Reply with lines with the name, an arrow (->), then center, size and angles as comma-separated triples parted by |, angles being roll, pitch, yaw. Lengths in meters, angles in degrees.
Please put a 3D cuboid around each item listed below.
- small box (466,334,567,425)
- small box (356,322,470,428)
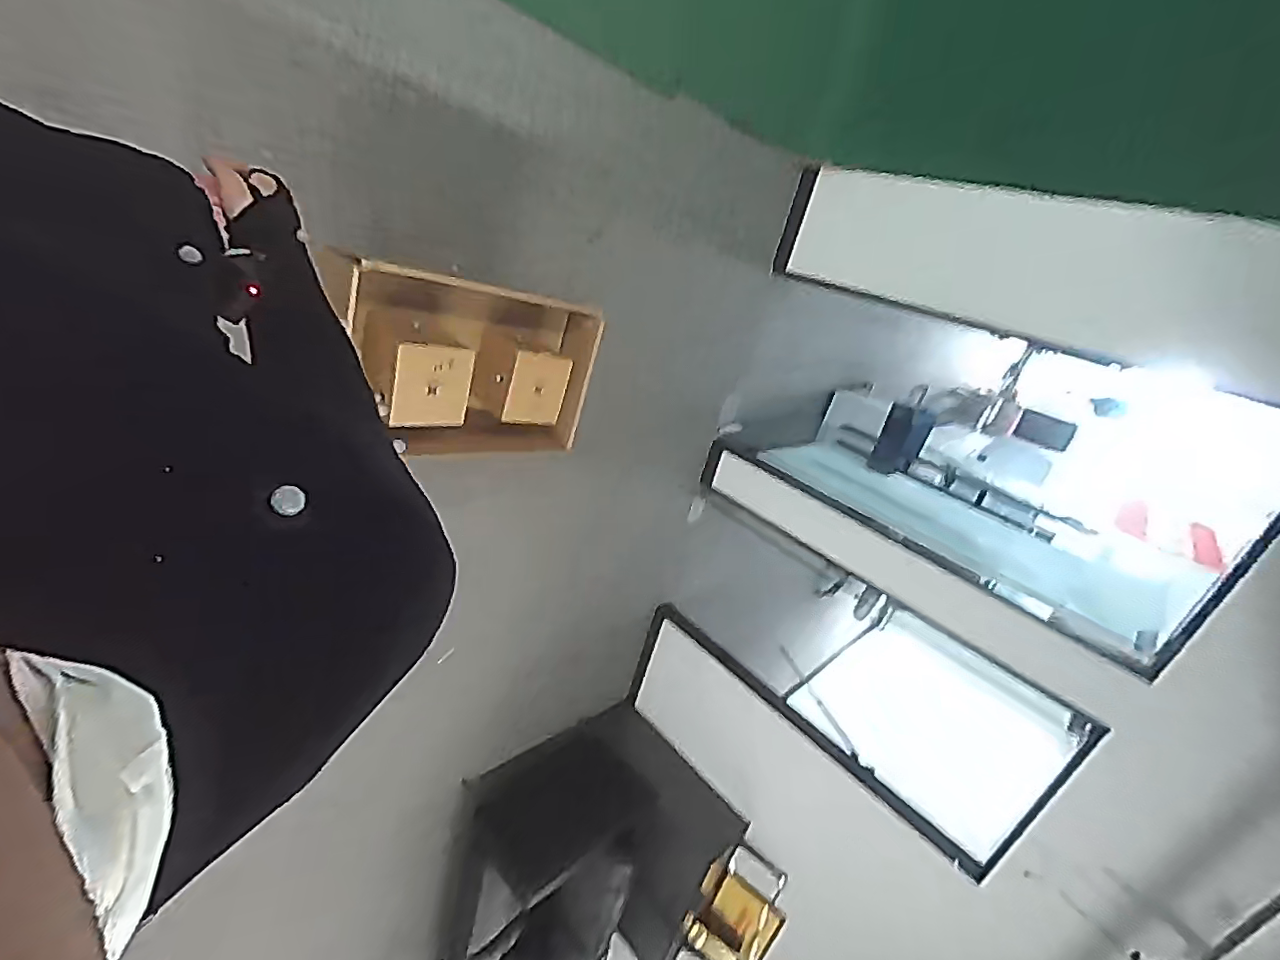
small box -> -0.319, -0.255, 1.372 | 0.168, 0.176, 0.179 | -2, 119, -49
small box -> -0.497, -0.226, 1.175 | 0.168, 0.176, 0.179 | -8, 122, -48
